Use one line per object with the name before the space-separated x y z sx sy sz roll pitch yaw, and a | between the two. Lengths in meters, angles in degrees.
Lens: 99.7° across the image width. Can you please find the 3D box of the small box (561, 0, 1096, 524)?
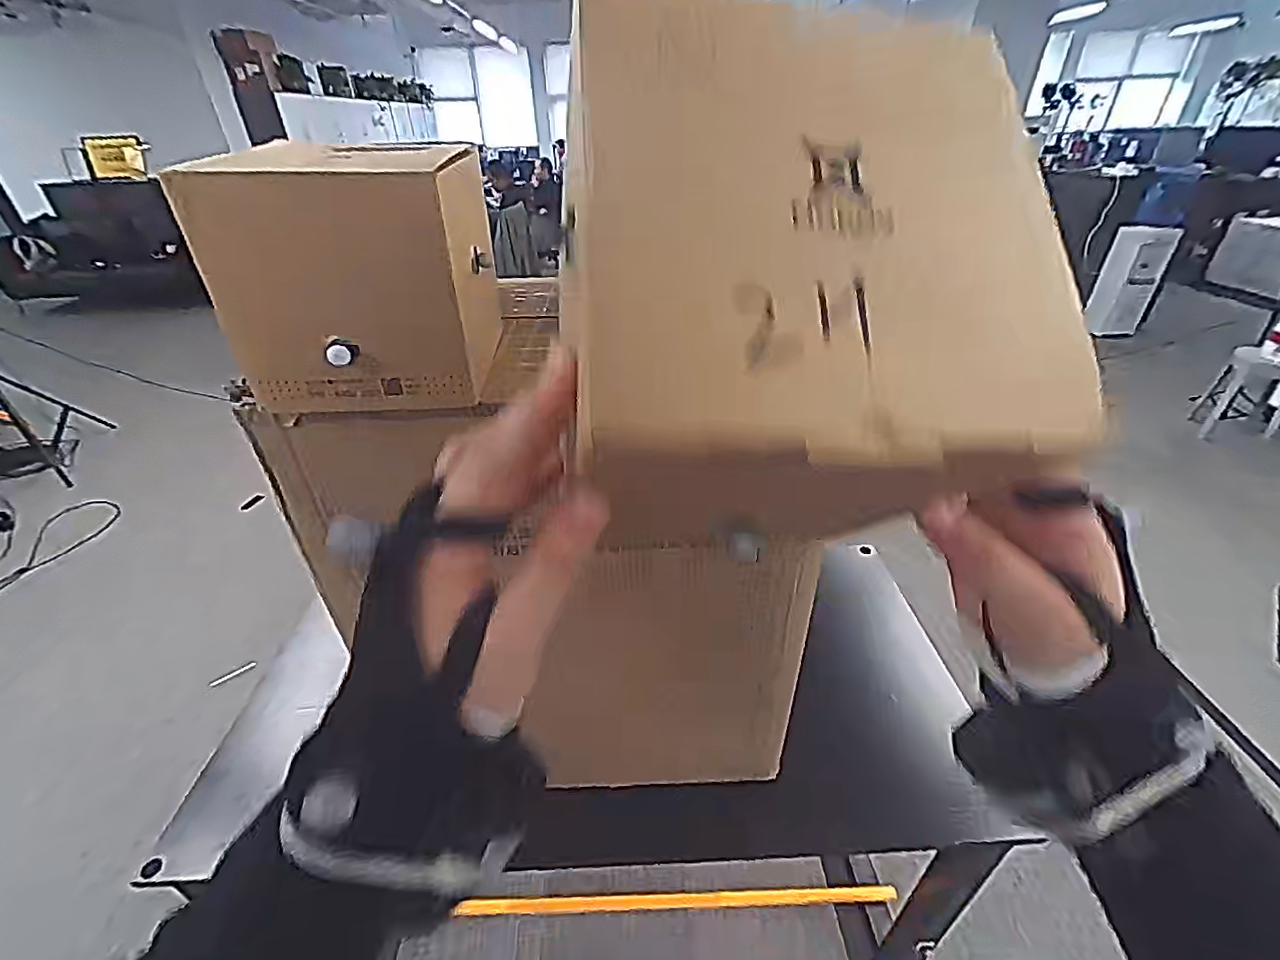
small box | 0.048 -0.083 0.257 0.168 0.176 0.179 0 74 -10
